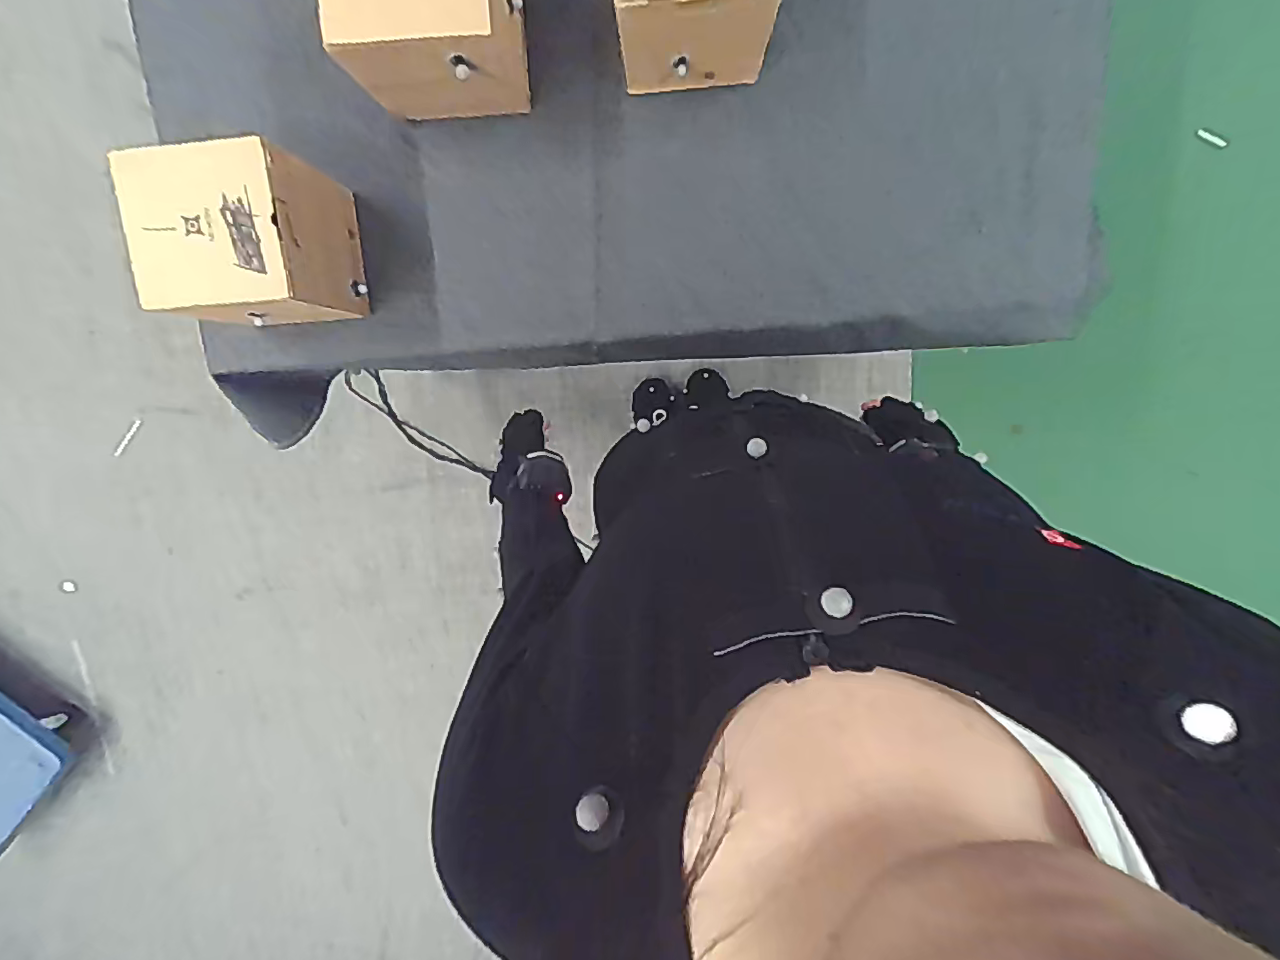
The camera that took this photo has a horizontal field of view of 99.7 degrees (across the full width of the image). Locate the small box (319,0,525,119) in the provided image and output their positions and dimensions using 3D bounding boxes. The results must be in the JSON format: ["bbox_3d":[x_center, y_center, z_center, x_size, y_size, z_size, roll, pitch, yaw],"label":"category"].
[{"bbox_3d":[-0.232,-0.533,0.605,0.179,0.176,0.168,-2,101,2],"label":"small box"}]

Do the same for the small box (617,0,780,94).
[{"bbox_3d":[0.055,-0.566,0.591,0.168,0.176,0.179,-3,101,3],"label":"small box"}]

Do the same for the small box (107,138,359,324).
[{"bbox_3d":[-0.468,-0.287,0.659,0.179,0.176,0.168,-3,100,3],"label":"small box"}]
